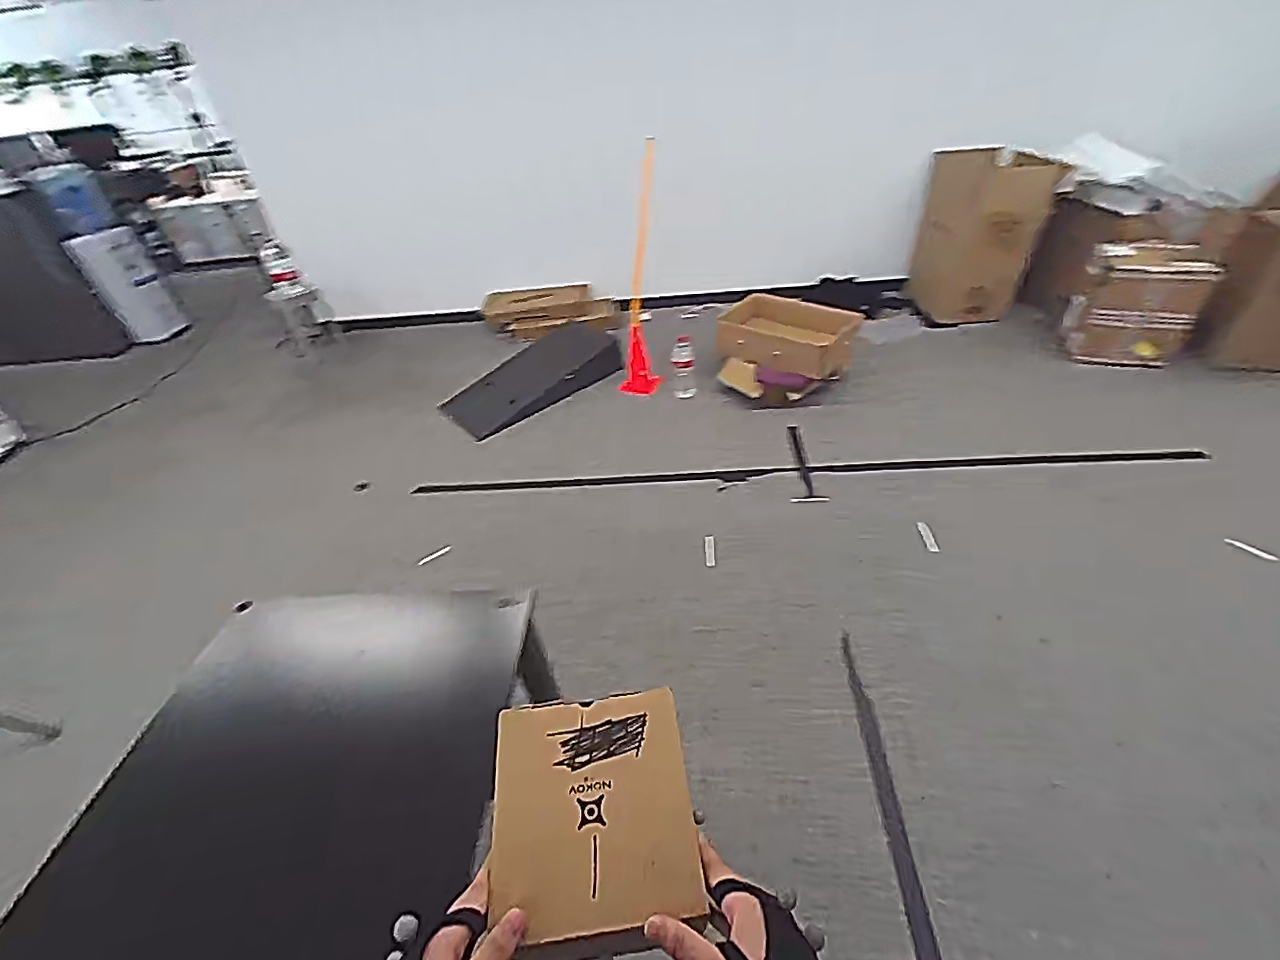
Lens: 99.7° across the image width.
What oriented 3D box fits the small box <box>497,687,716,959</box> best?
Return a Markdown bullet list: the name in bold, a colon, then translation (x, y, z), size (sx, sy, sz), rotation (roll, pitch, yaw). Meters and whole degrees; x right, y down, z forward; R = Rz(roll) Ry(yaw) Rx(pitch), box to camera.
- **small box**: translation (-0.030, 0.324, 0.512), size (0.168, 0.176, 0.179), rotation (-6, 45, -3)
